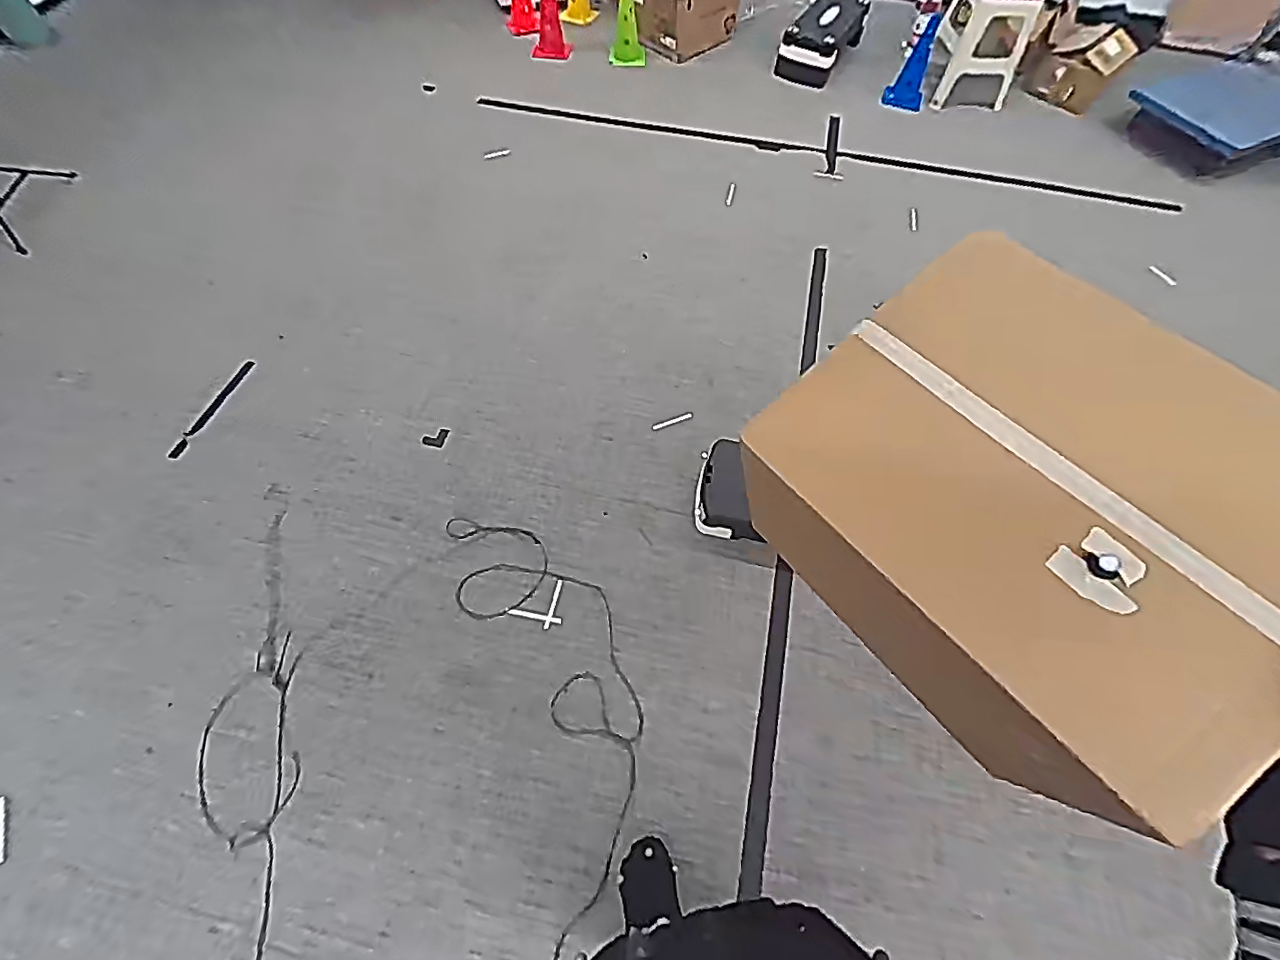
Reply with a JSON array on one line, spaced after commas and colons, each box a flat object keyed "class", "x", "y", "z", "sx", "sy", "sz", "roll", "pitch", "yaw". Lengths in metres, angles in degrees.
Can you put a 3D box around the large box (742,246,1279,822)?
[{"class": "large box", "x": 0.362, "y": 0.047, "z": 0.578, "sx": 0.320, "sy": 0.320, "sz": 0.408, "roll": -41, "pitch": 66, "yaw": -3}]
